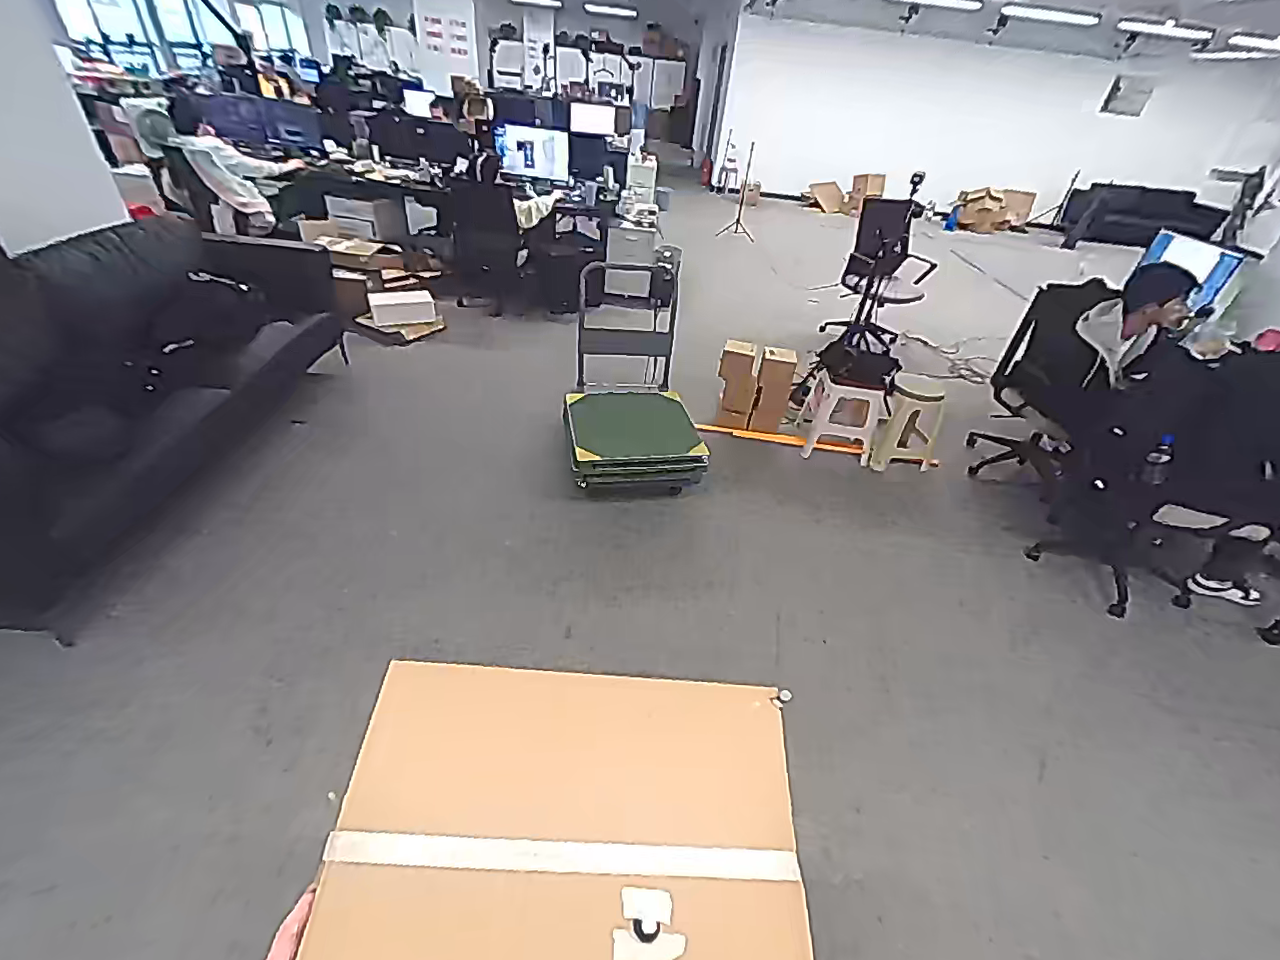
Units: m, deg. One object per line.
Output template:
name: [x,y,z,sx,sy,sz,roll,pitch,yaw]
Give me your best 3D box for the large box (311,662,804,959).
large box: [-0.076,0.416,0.597,0.408,0.320,0.320,5,53,-4]
